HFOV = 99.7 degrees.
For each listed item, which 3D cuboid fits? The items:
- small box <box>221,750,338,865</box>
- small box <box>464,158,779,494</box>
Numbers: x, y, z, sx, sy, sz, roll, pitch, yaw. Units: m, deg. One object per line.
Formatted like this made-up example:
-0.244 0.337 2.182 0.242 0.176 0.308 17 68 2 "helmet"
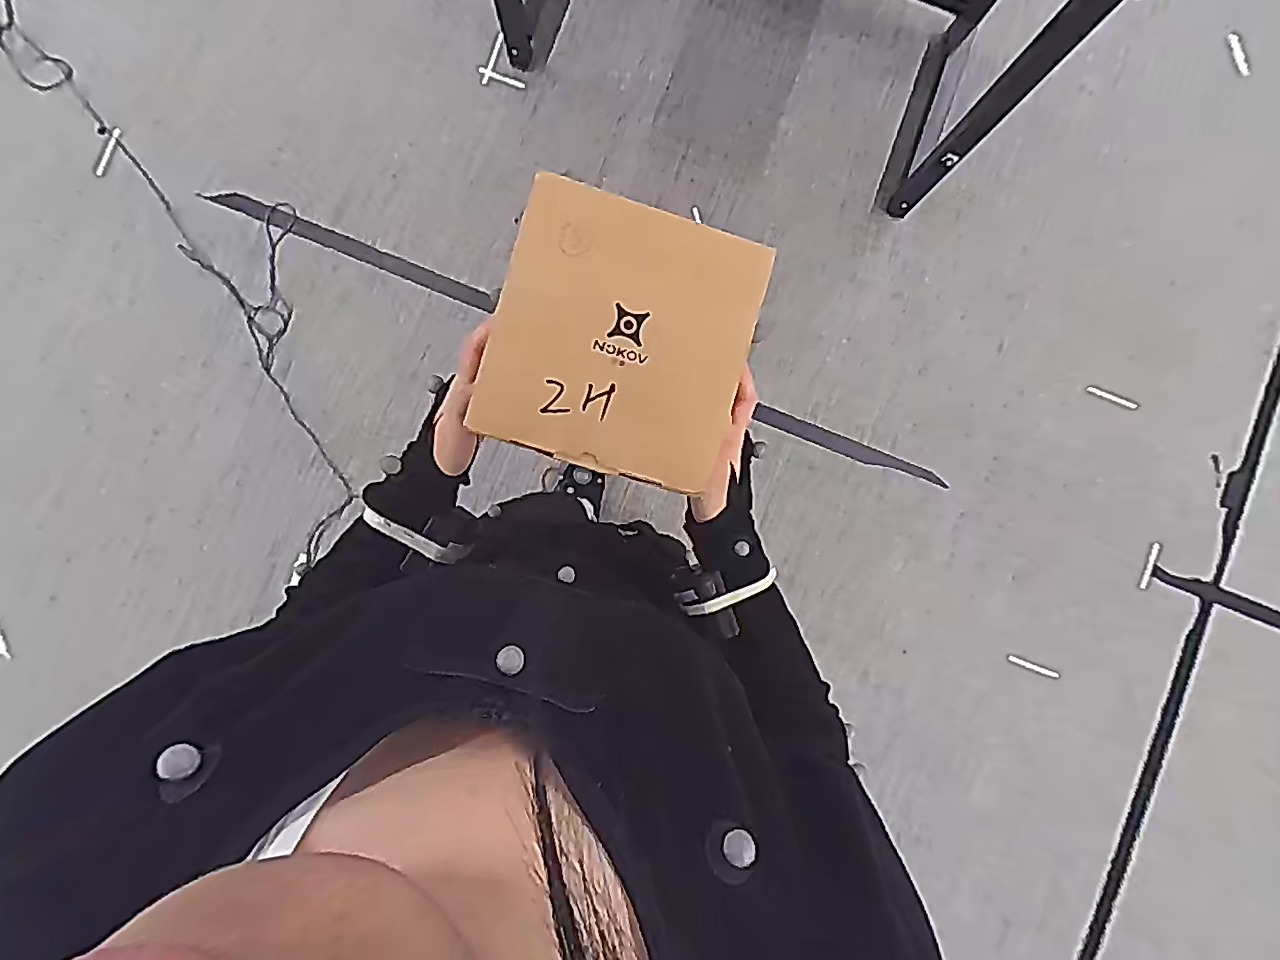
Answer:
-0.893 0.812 1.358 0.168 0.176 0.179 14 89 -2 "small box"
-0.018 -0.098 0.423 0.168 0.176 0.179 17 90 -6 "small box"
